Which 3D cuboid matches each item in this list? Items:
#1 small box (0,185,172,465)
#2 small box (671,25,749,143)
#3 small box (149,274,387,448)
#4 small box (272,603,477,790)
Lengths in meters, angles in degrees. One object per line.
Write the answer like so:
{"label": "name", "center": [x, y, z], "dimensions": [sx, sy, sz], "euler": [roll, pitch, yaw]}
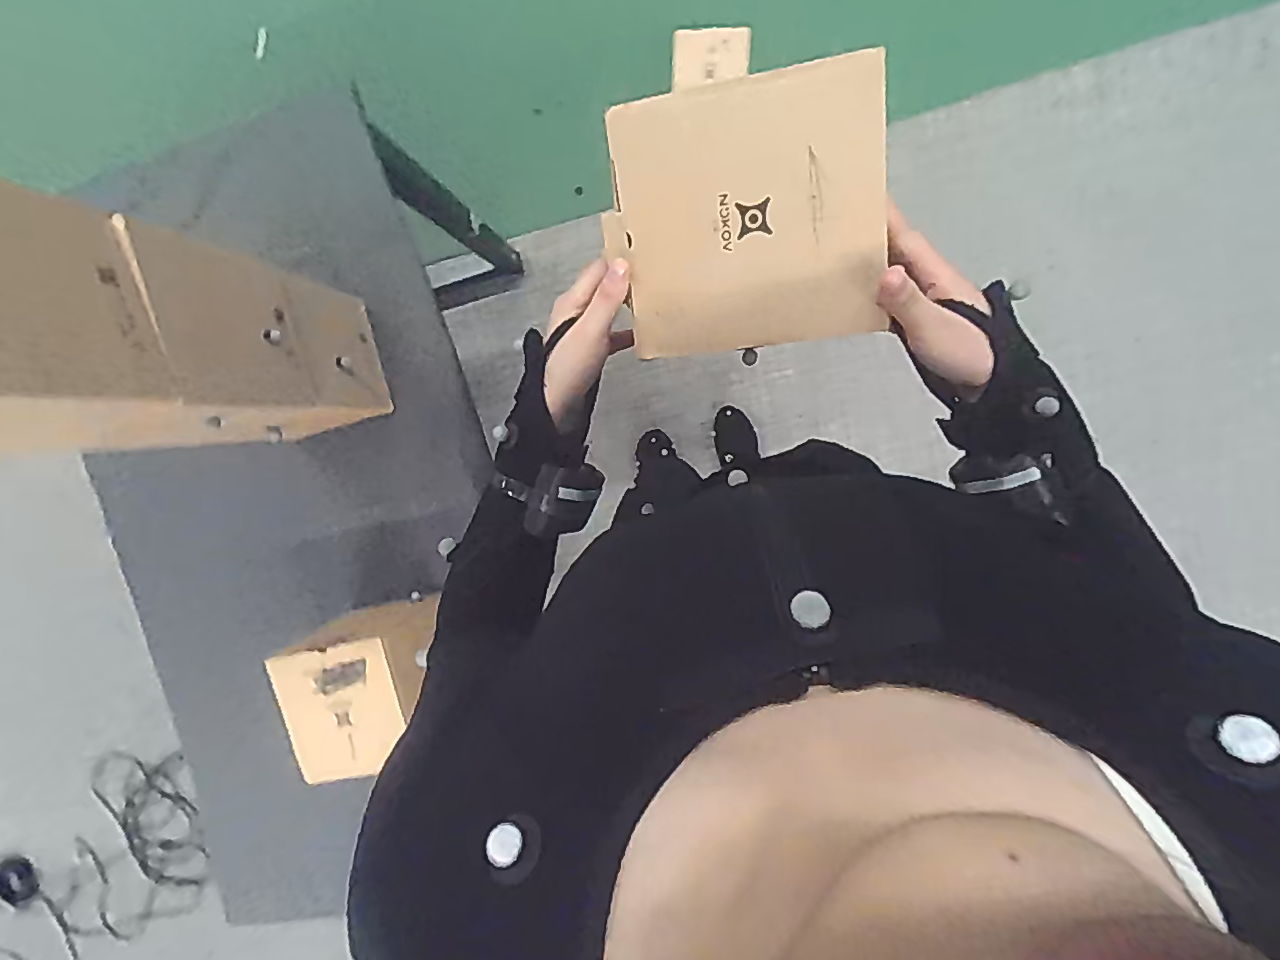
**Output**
{"label": "small box", "center": [-0.500, -0.103, 0.381], "dimensions": [0.179, 0.176, 0.168], "euler": [-17, 95, 10]}
{"label": "small box", "center": [0.163, -0.924, 1.279], "dimensions": [0.168, 0.176, 0.179], "euler": [2, 97, 5]}
{"label": "small box", "center": [-0.461, -0.146, 0.704], "dimensions": [0.179, 0.176, 0.168], "euler": [-14, 95, 9]}
{"label": "small box", "center": [-0.349, 0.283, 0.744], "dimensions": [0.168, 0.176, 0.179], "euler": [-13, 96, 9]}
